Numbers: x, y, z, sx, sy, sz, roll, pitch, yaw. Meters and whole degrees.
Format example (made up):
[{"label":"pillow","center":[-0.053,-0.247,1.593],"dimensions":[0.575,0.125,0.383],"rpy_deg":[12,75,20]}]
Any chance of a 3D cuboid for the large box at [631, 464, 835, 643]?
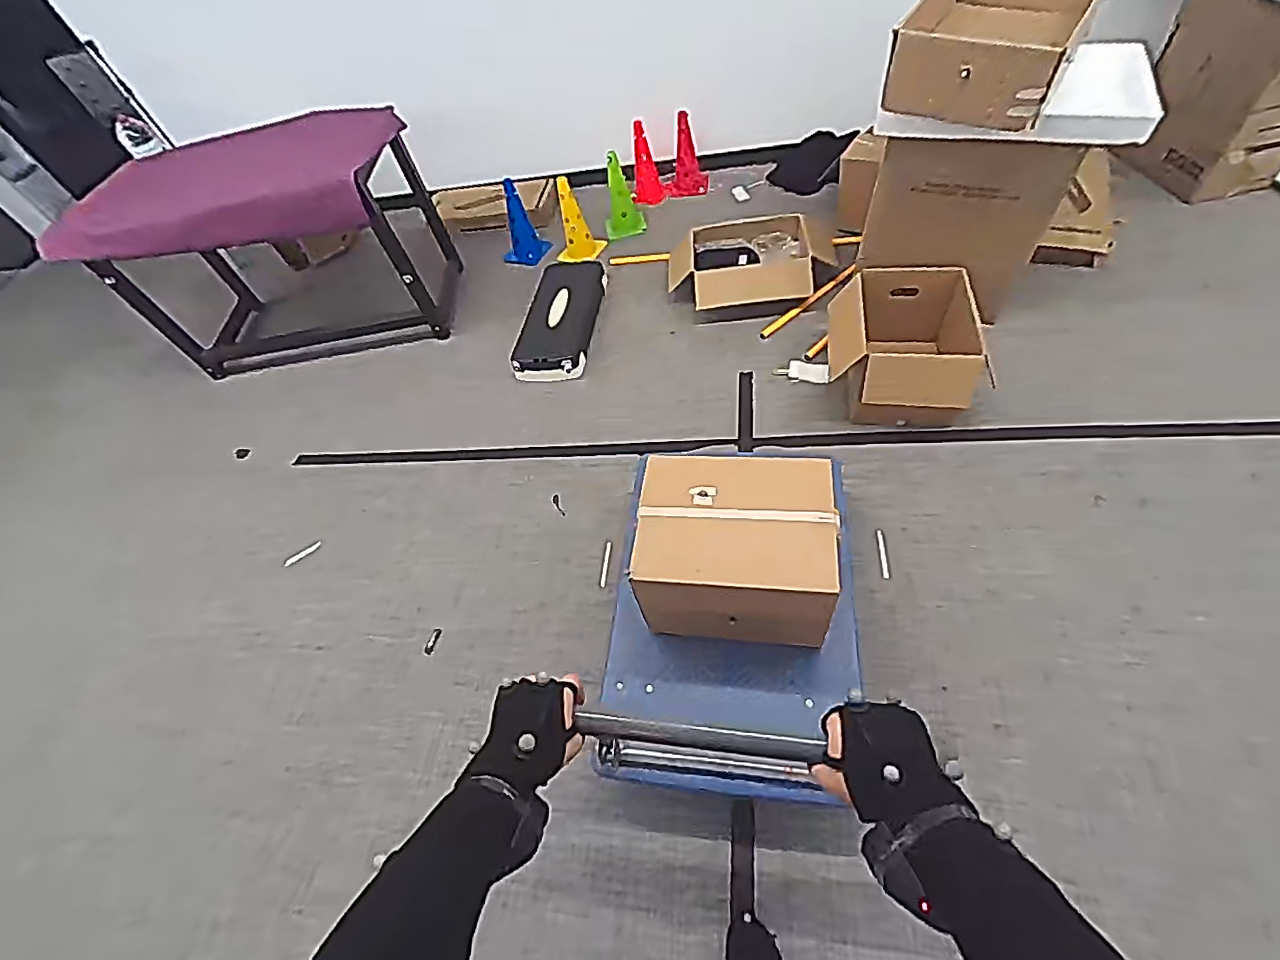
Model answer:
[{"label":"large box","center":[0.219,0.176,1.263],"dimensions":[0.408,0.320,0.320],"rpy_deg":[0,54,12]}]
